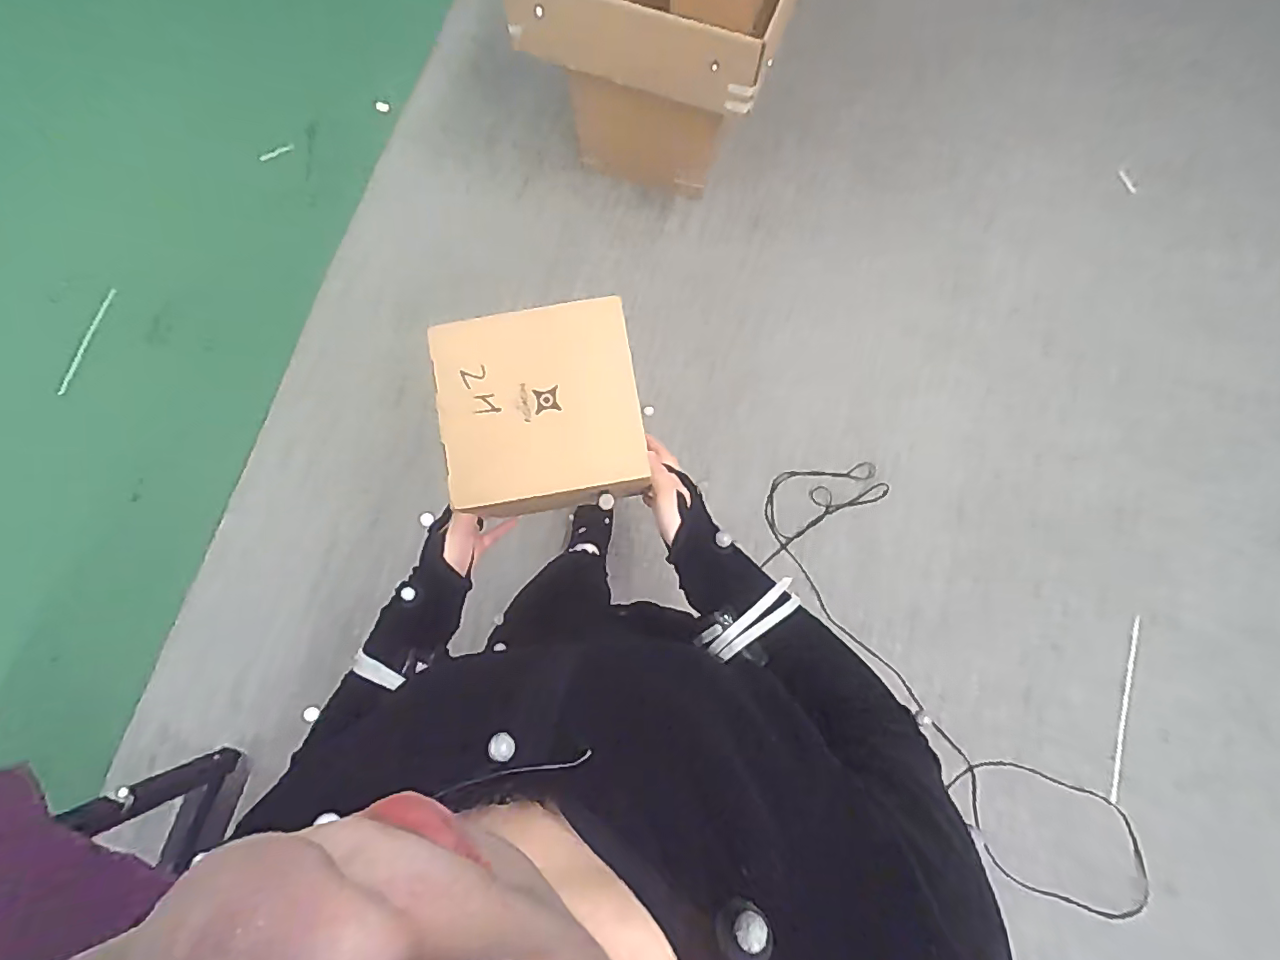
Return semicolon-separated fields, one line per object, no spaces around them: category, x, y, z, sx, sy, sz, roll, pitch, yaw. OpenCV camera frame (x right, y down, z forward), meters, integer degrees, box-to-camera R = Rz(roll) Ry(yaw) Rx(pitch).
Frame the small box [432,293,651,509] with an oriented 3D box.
small box;-0.087;-0.066;0.549;0.179;0.176;0.168;-9;83;1
